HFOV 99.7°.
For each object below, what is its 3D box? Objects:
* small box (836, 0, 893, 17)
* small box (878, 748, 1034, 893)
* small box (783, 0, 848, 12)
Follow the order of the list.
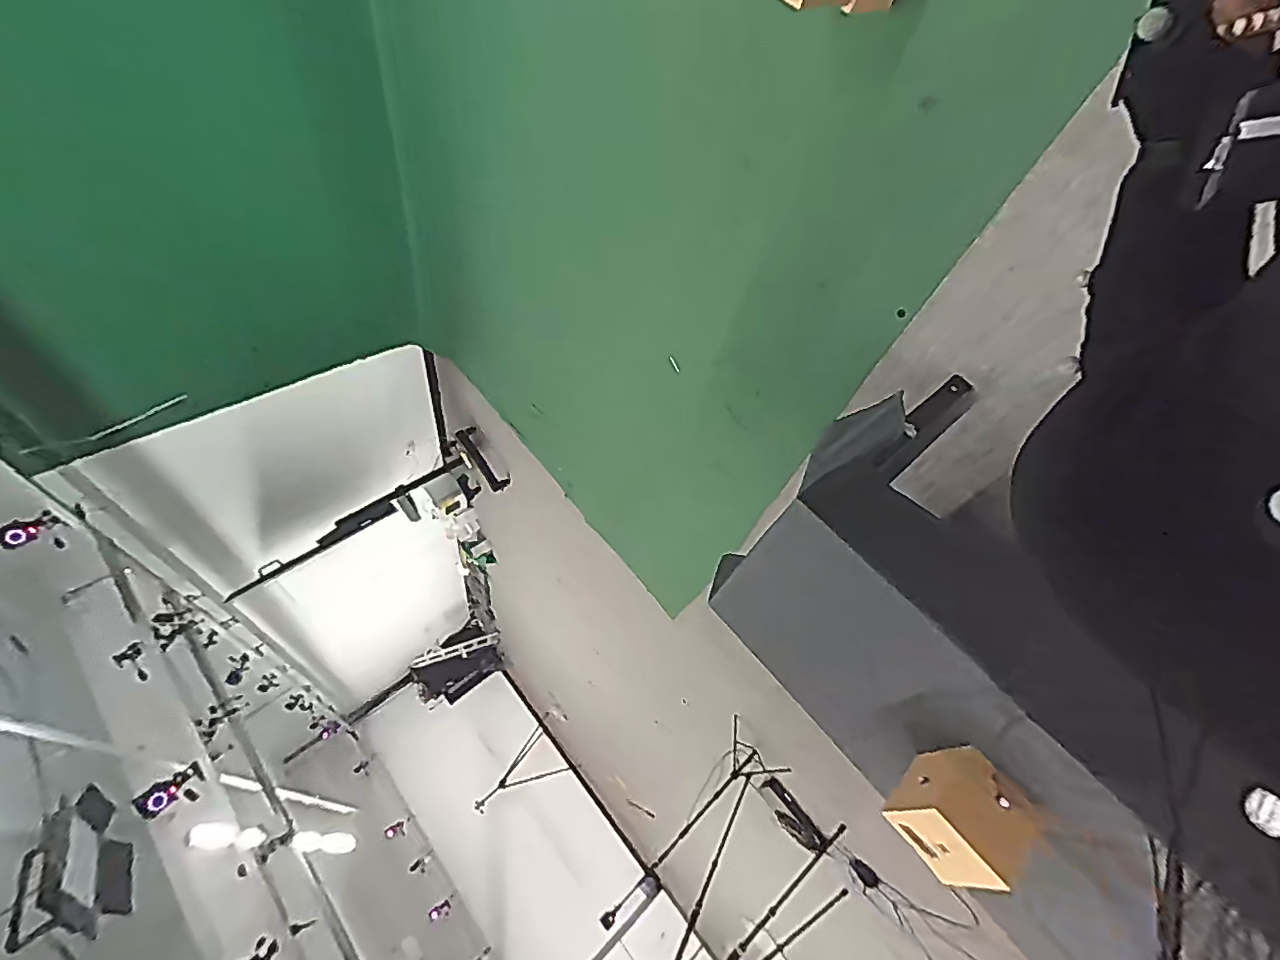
[{"bbox_3d":[0.468,-1.109,1.123,0.179,0.176,0.168,51,150,14],"label":"small box"},{"bbox_3d":[0.617,0.659,1.060,0.168,0.176,0.179,48,148,17],"label":"small box"},{"bbox_3d":[0.342,-1.046,1.037,0.168,0.176,0.179,50,149,15],"label":"small box"}]
